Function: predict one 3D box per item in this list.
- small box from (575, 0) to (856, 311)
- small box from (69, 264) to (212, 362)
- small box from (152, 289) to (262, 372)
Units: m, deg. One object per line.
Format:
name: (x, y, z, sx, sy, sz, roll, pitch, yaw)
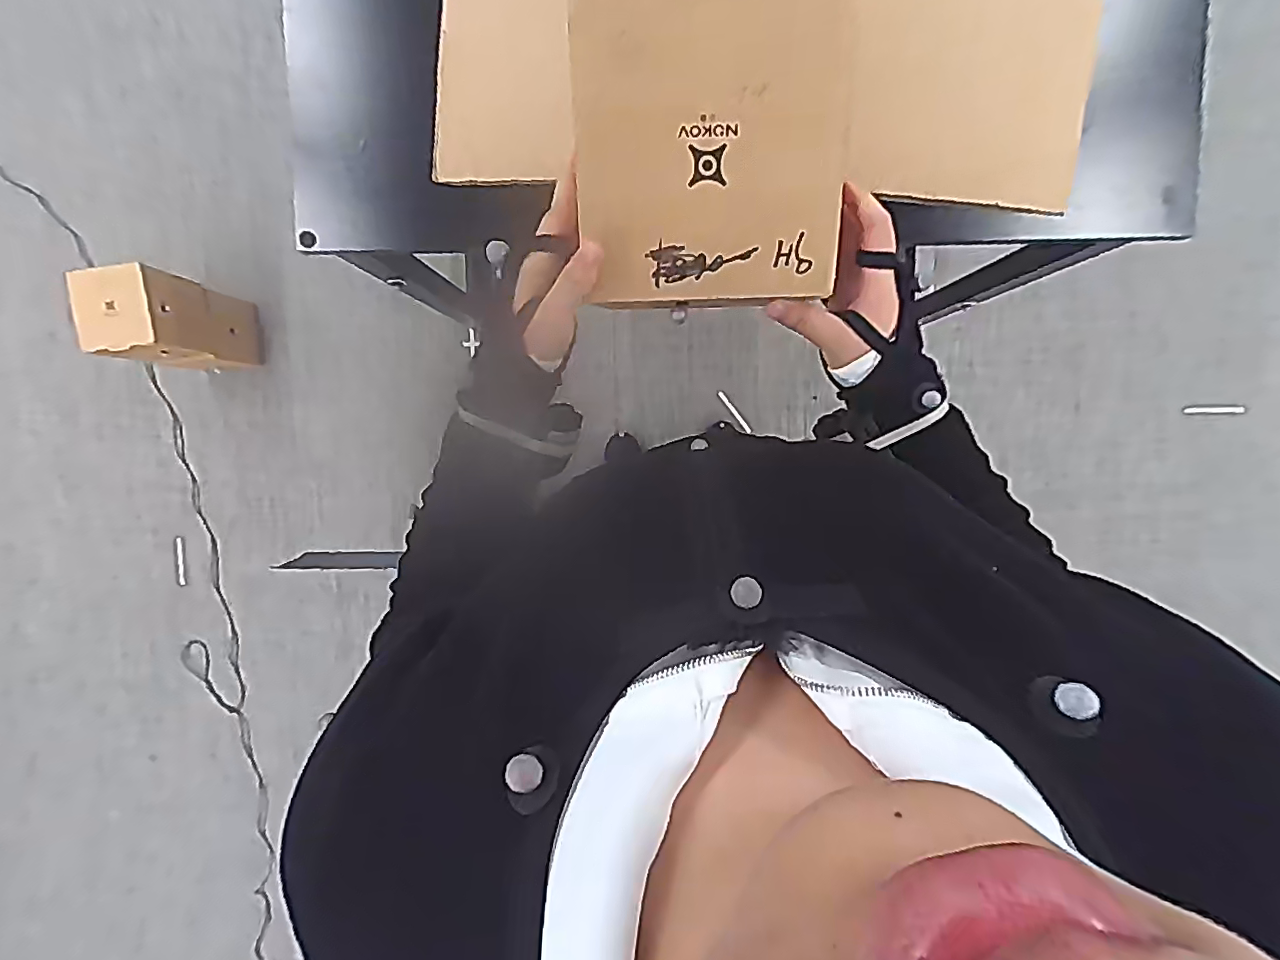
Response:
small box: (0.044, -0.223, 0.405, 0.168, 0.176, 0.179, -1, 106, 1)
small box: (-1.134, -0.374, 1.243, 0.168, 0.176, 0.179, -8, 94, 1)
small box: (-1.128, -0.382, 1.405, 0.168, 0.176, 0.179, -4, 96, 2)
